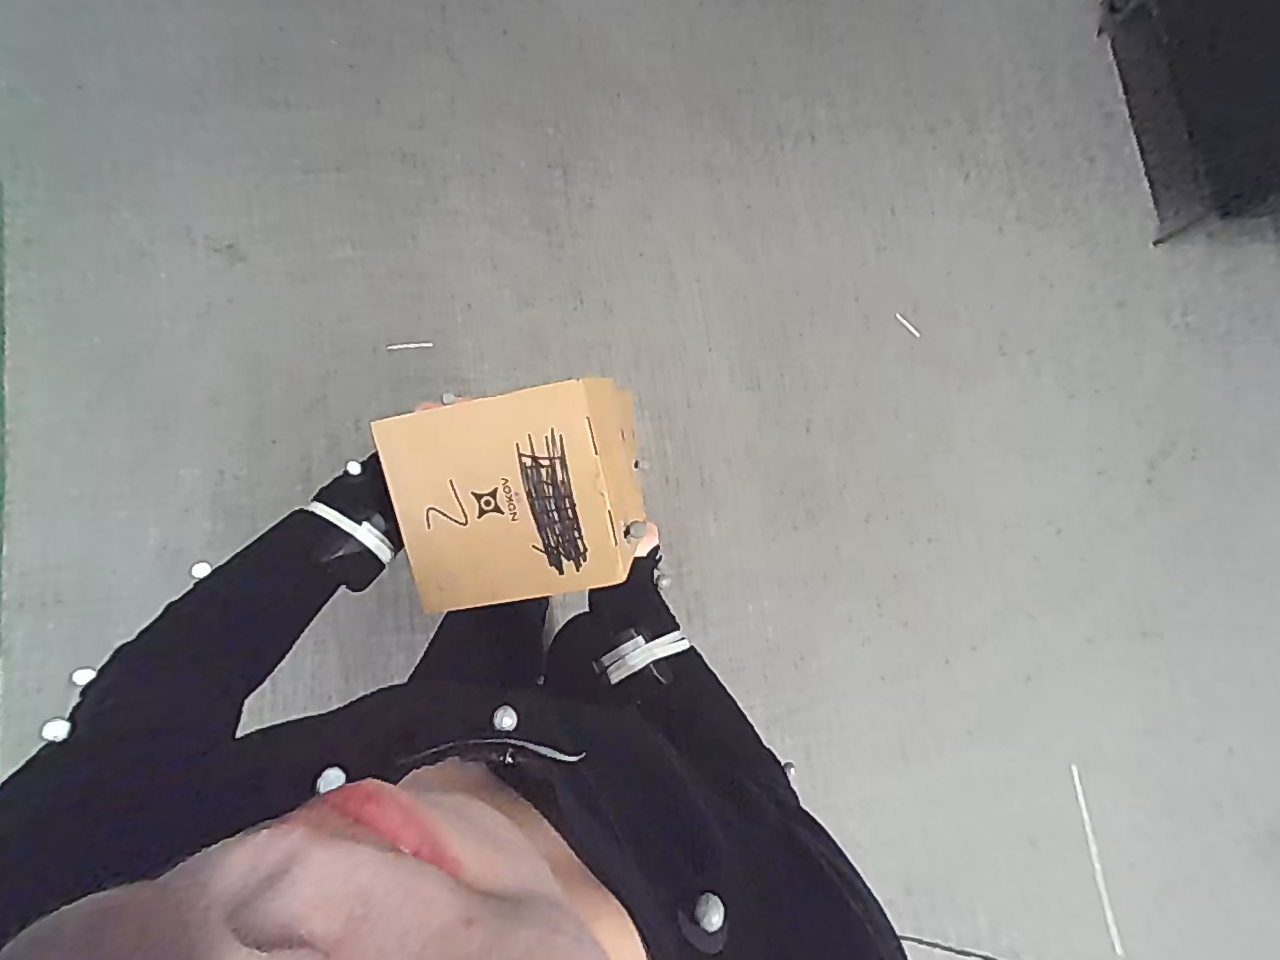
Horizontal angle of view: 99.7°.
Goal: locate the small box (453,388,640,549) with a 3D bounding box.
[{"bbox_3d":[-0.101,-0.022,0.663,0.179,0.176,0.168,-5,101,6],"label":"small box"}]
